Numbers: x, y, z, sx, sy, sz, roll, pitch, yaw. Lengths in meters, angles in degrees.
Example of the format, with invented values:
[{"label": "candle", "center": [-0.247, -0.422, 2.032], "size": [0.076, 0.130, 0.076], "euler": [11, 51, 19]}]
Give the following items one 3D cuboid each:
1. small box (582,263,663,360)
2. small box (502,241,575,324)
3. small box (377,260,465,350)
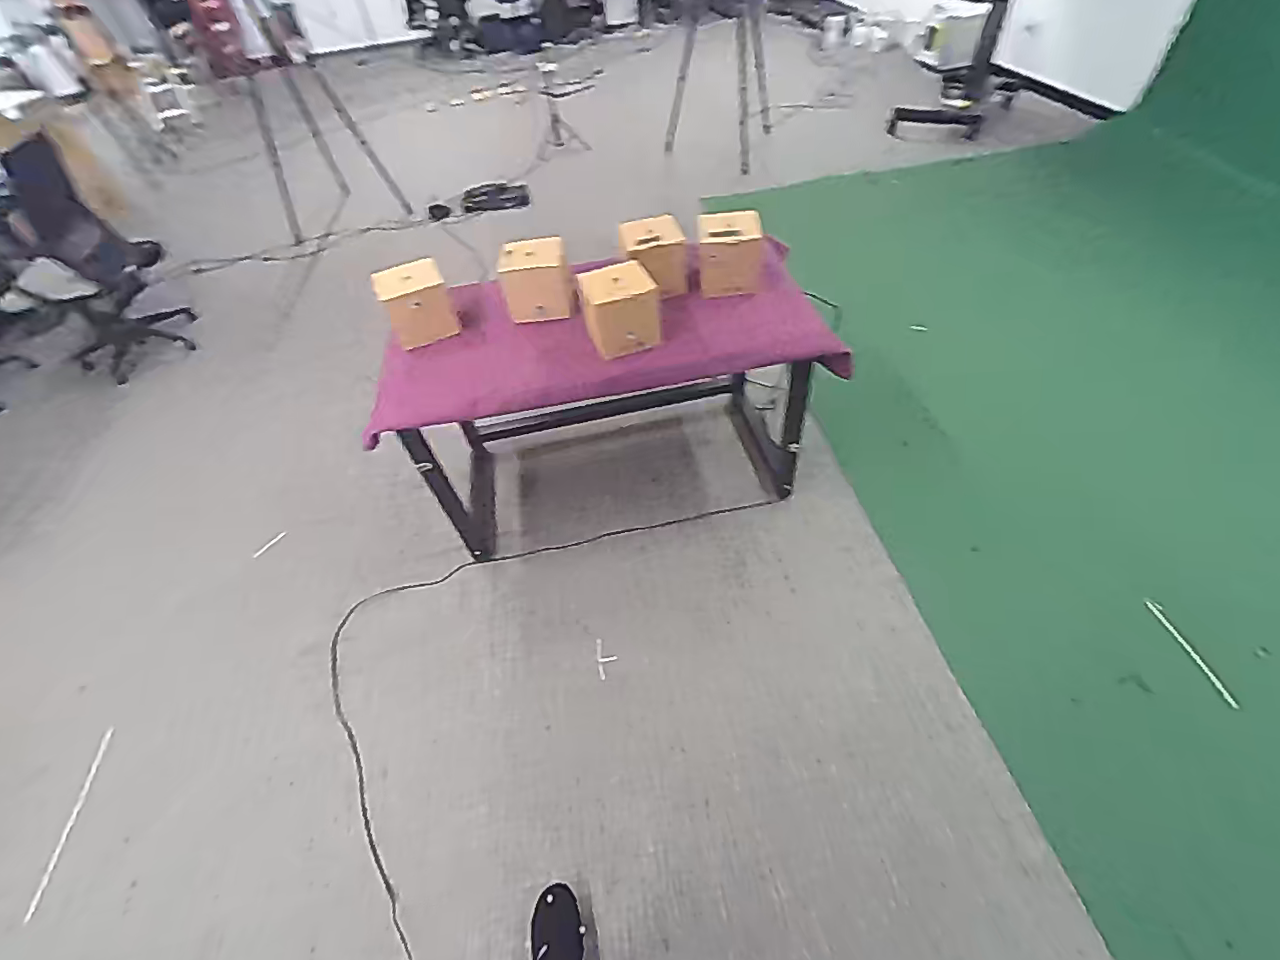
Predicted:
[{"label": "small box", "center": [-0.045, -0.448, 1.447], "size": [0.168, 0.176, 0.179], "euler": [-18, 49, -7]}, {"label": "small box", "center": [-0.290, -0.578, 1.591], "size": [0.179, 0.176, 0.168], "euler": [-4, 49, 3]}, {"label": "small box", "center": [-0.632, -0.504, 1.570], "size": [0.179, 0.176, 0.168], "euler": [-22, 52, -12]}]
